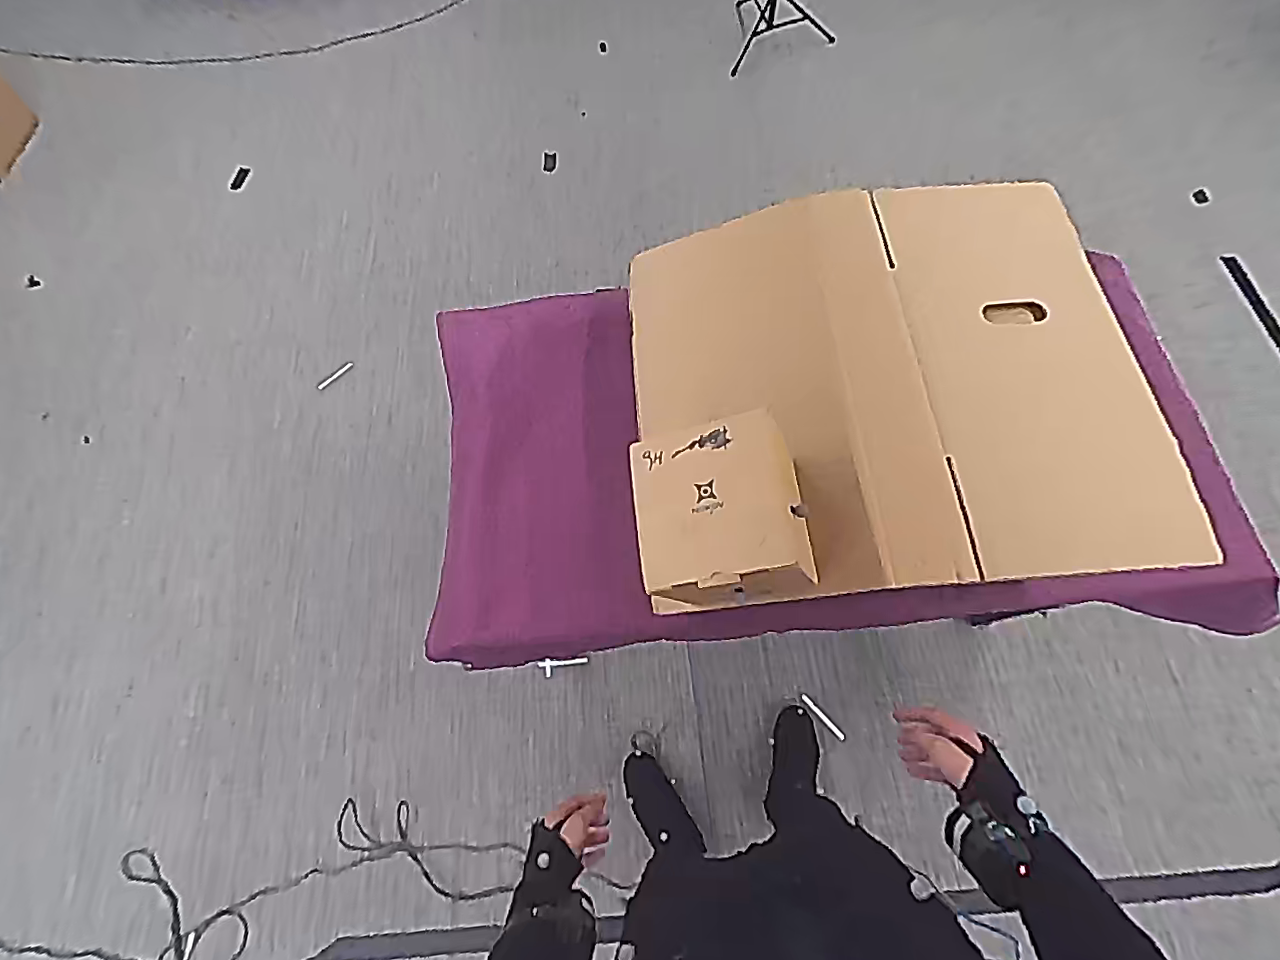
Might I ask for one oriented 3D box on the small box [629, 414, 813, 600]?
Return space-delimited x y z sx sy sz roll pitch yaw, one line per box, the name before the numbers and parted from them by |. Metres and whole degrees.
small box | 0.102 0.047 0.652 0.168 0.176 0.179 -14 69 20
